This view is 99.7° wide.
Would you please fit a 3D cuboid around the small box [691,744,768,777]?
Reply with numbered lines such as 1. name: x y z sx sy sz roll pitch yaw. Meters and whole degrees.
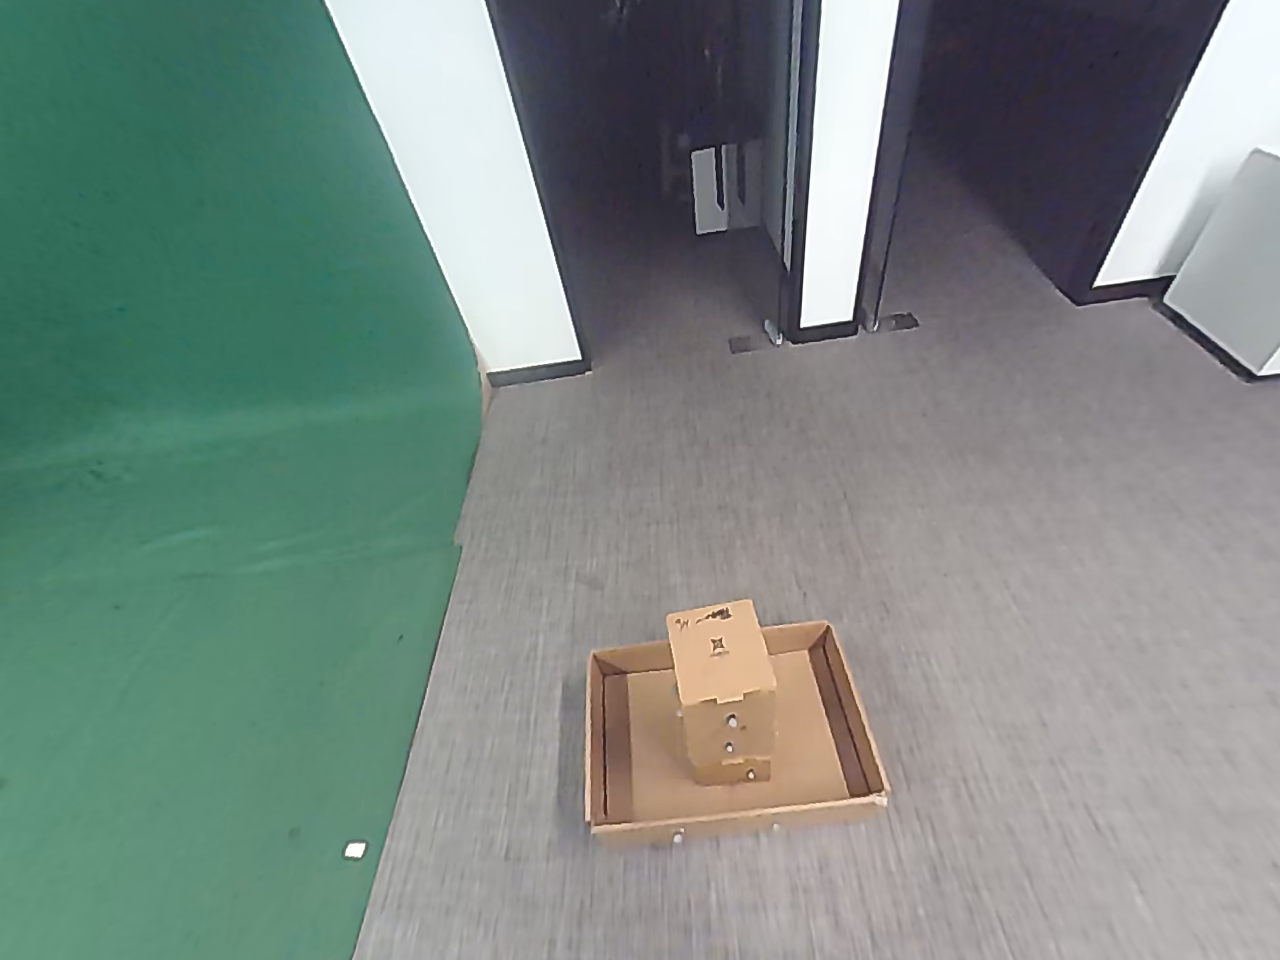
1. small box: 0.201 0.573 1.252 0.168 0.176 0.179 -7 45 5

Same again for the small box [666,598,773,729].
1. small box: 0.150 0.351 1.018 0.168 0.176 0.179 -11 46 2

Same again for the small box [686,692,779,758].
1. small box: 0.179 0.463 1.133 0.179 0.176 0.168 -10 46 1
